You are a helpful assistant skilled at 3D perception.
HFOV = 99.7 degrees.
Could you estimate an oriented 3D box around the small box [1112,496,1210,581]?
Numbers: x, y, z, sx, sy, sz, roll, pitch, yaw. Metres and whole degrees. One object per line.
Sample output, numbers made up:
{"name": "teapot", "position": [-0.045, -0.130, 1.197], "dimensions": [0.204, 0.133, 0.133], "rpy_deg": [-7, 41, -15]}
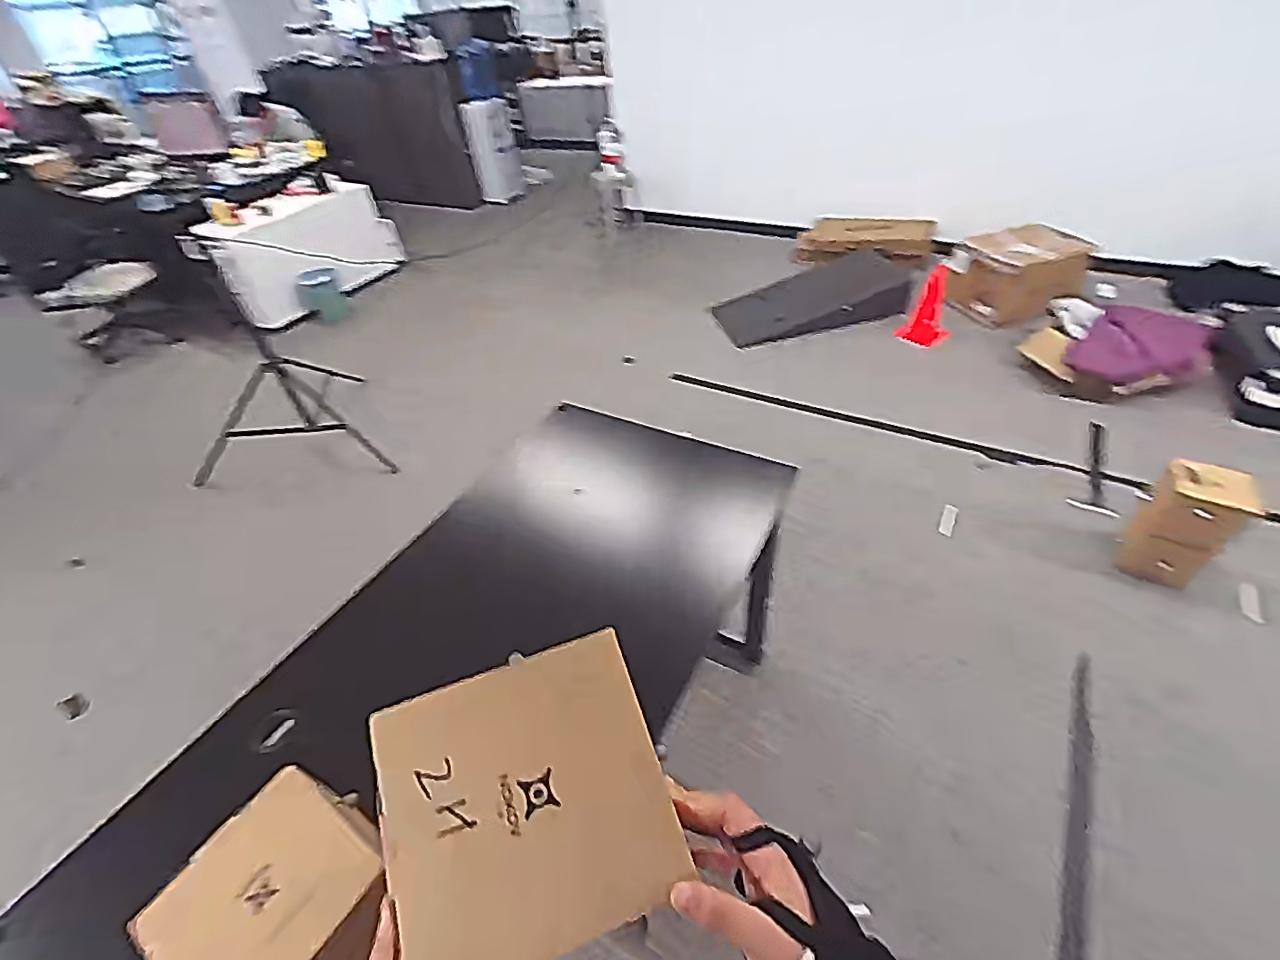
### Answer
{"name": "small box", "position": [1.595, 0.181, 1.664], "dimensions": [0.168, 0.176, 0.179], "rpy_deg": [20, 51, 25]}

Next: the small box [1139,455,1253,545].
{"name": "small box", "position": [1.578, 0.060, 1.552], "dimensions": [0.179, 0.176, 0.168], "rpy_deg": [20, 49, 24]}

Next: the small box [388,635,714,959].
{"name": "small box", "position": [-0.065, 0.238, 0.412], "dimensions": [0.179, 0.176, 0.168], "rpy_deg": [-17, 63, -10]}

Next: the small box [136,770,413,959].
{"name": "small box", "position": [-0.349, 0.452, 0.567], "dimensions": [0.179, 0.176, 0.168], "rpy_deg": [21, 51, 25]}
